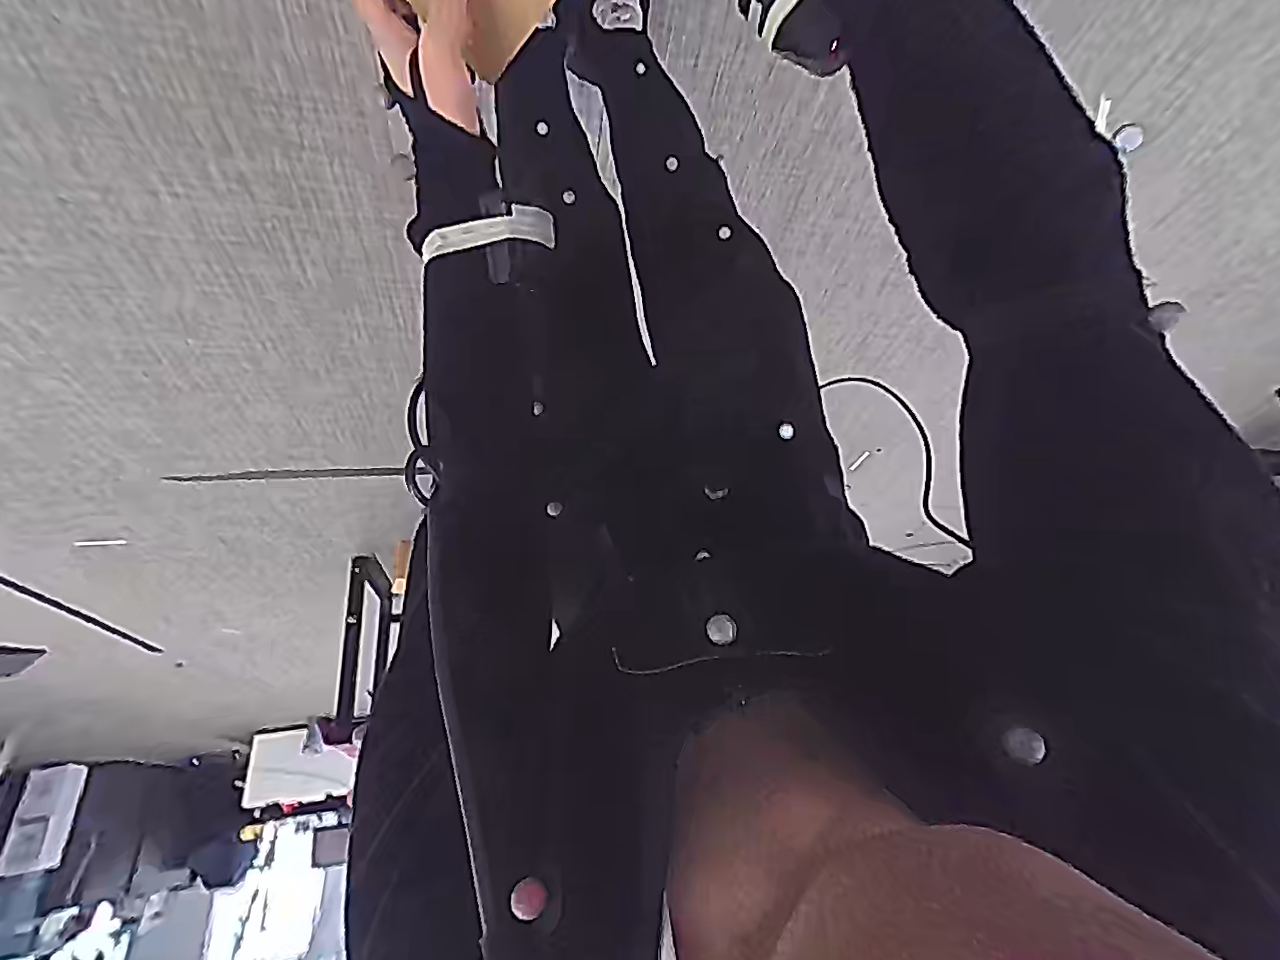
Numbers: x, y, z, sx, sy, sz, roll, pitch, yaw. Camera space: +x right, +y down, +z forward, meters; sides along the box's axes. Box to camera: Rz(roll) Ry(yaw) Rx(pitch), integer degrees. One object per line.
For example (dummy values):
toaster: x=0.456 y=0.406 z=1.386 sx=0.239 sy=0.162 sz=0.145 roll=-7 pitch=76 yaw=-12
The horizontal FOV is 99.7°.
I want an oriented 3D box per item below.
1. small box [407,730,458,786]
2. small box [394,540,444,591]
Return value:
small box: x=-0.828 y=1.118 z=2.172 sx=0.179 sy=0.176 sz=0.168 roll=-2 pitch=150 yaw=-16
small box: x=-0.945 y=0.365 z=2.310 sx=0.179 sy=0.176 sz=0.168 roll=6 pitch=146 yaw=-29
